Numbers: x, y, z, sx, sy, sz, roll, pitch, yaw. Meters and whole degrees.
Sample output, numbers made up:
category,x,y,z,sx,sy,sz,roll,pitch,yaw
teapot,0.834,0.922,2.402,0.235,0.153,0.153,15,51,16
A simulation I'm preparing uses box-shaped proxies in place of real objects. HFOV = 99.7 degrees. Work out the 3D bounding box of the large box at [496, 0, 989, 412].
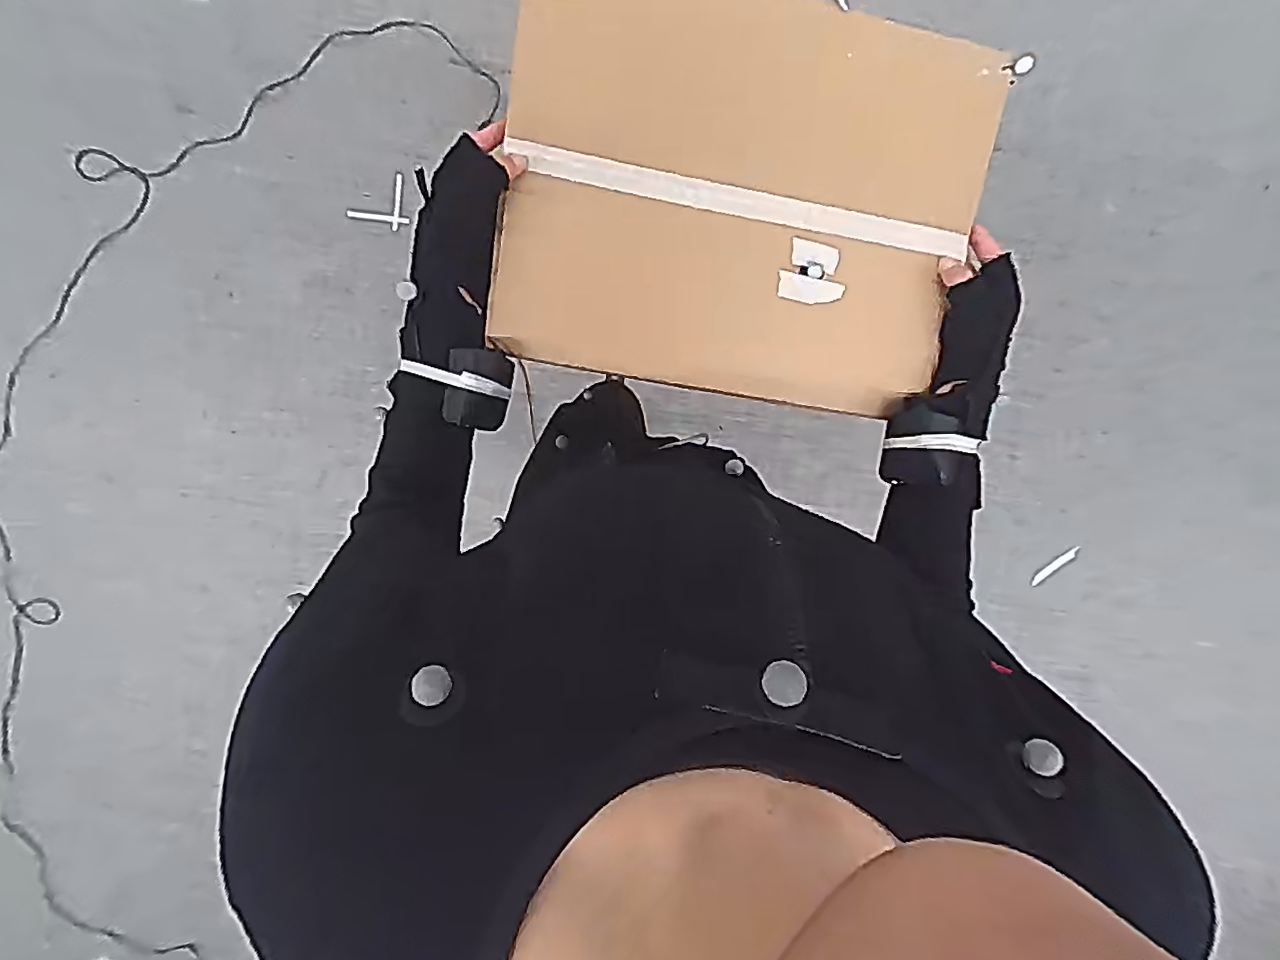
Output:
category,x,y,z,sx,sy,sz,roll,pitch,yaw
large box,0.071,-0.268,0.616,0.408,0.320,0.320,8,102,-8
